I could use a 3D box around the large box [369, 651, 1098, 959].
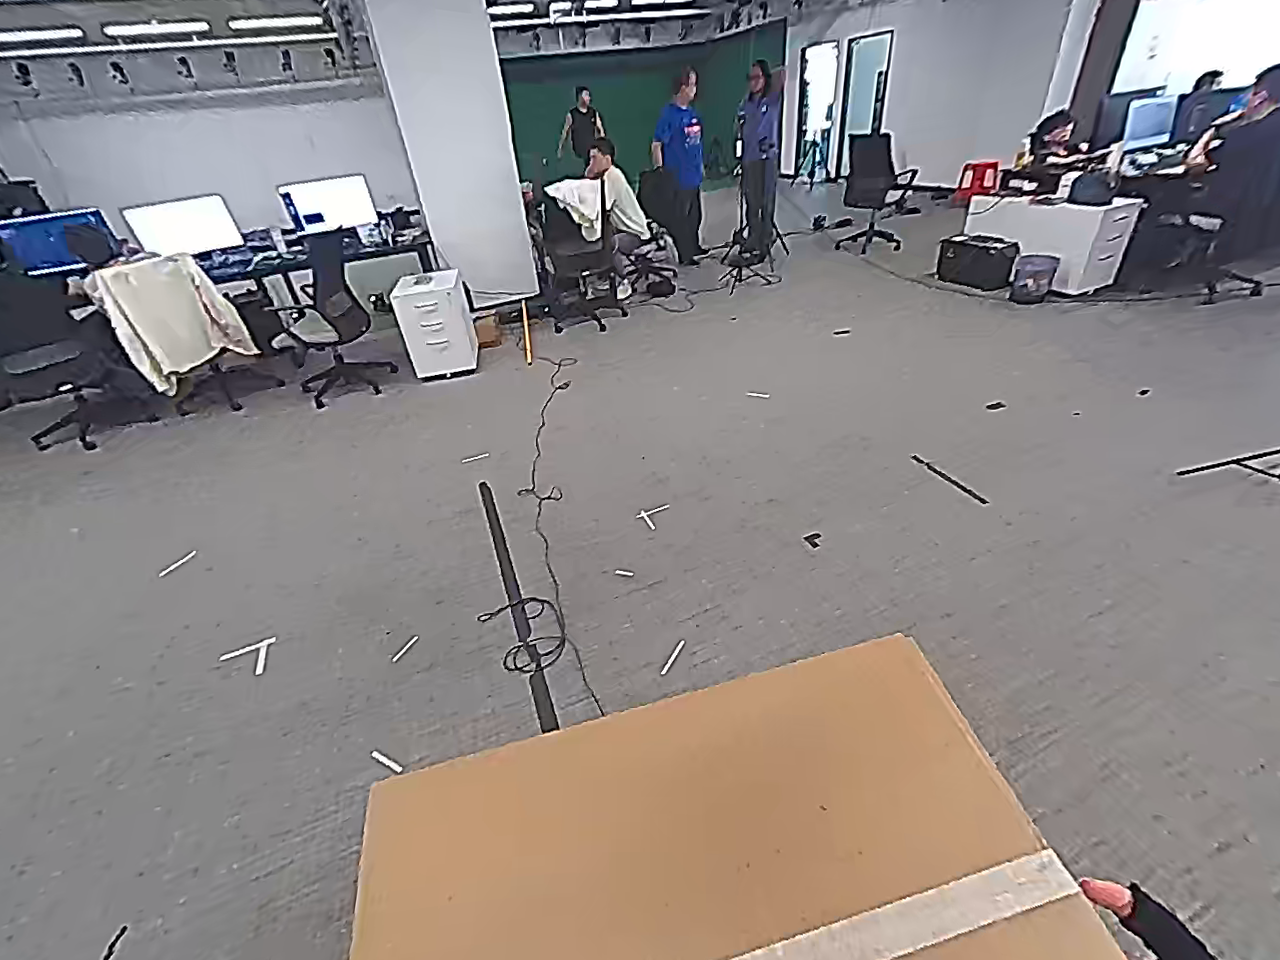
[{"bbox_3d":[0.063,0.384,0.398,0.408,0.320,0.320,-14,44,-5],"label":"large box"}]
